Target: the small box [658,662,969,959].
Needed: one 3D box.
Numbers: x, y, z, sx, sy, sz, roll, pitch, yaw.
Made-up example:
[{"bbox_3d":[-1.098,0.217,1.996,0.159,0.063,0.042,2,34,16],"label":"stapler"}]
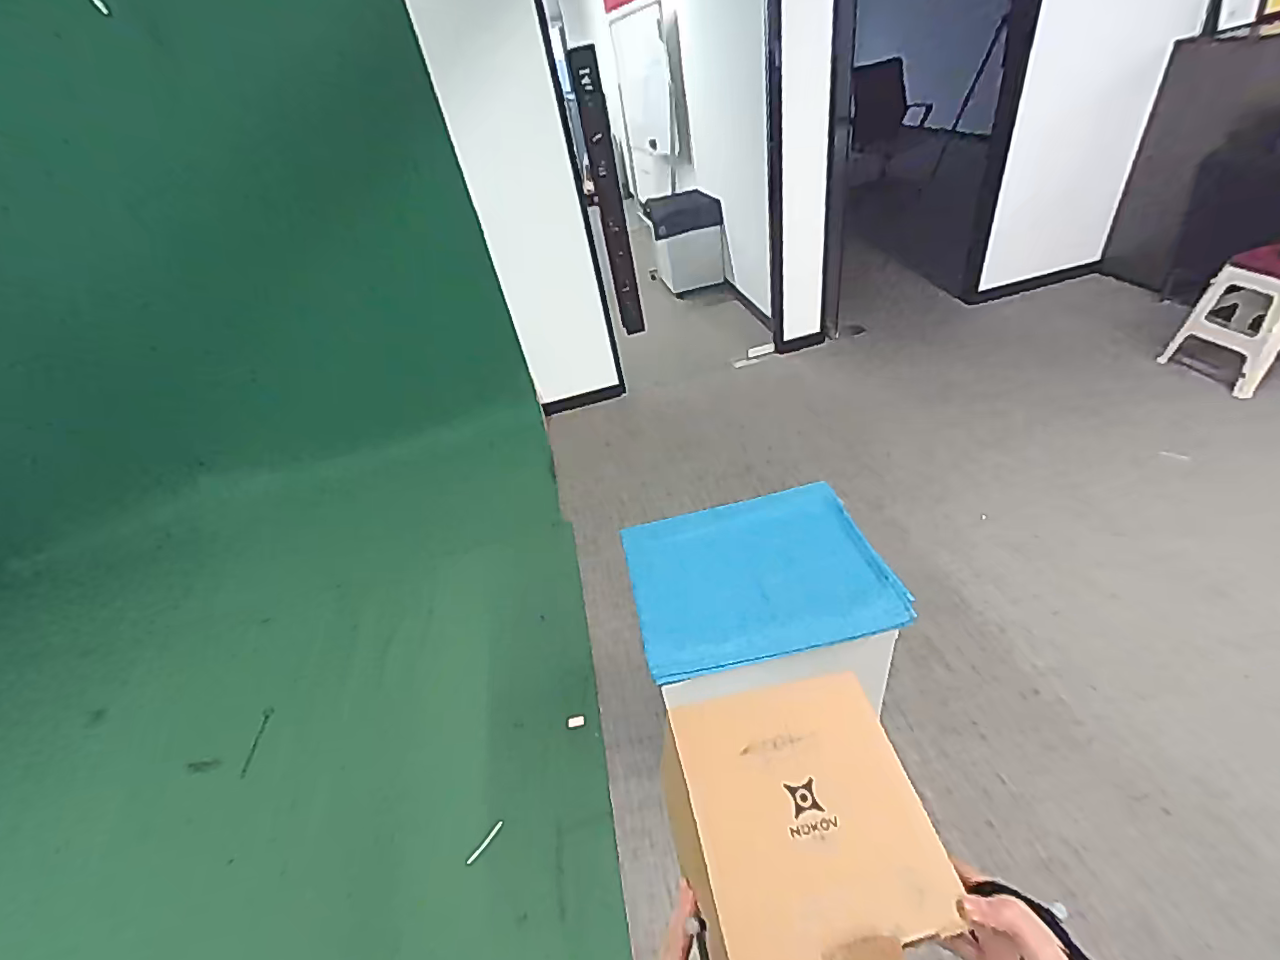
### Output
[{"bbox_3d":[0.113,0.278,0.441,0.168,0.176,0.179,-7,45,-9],"label":"small box"}]
